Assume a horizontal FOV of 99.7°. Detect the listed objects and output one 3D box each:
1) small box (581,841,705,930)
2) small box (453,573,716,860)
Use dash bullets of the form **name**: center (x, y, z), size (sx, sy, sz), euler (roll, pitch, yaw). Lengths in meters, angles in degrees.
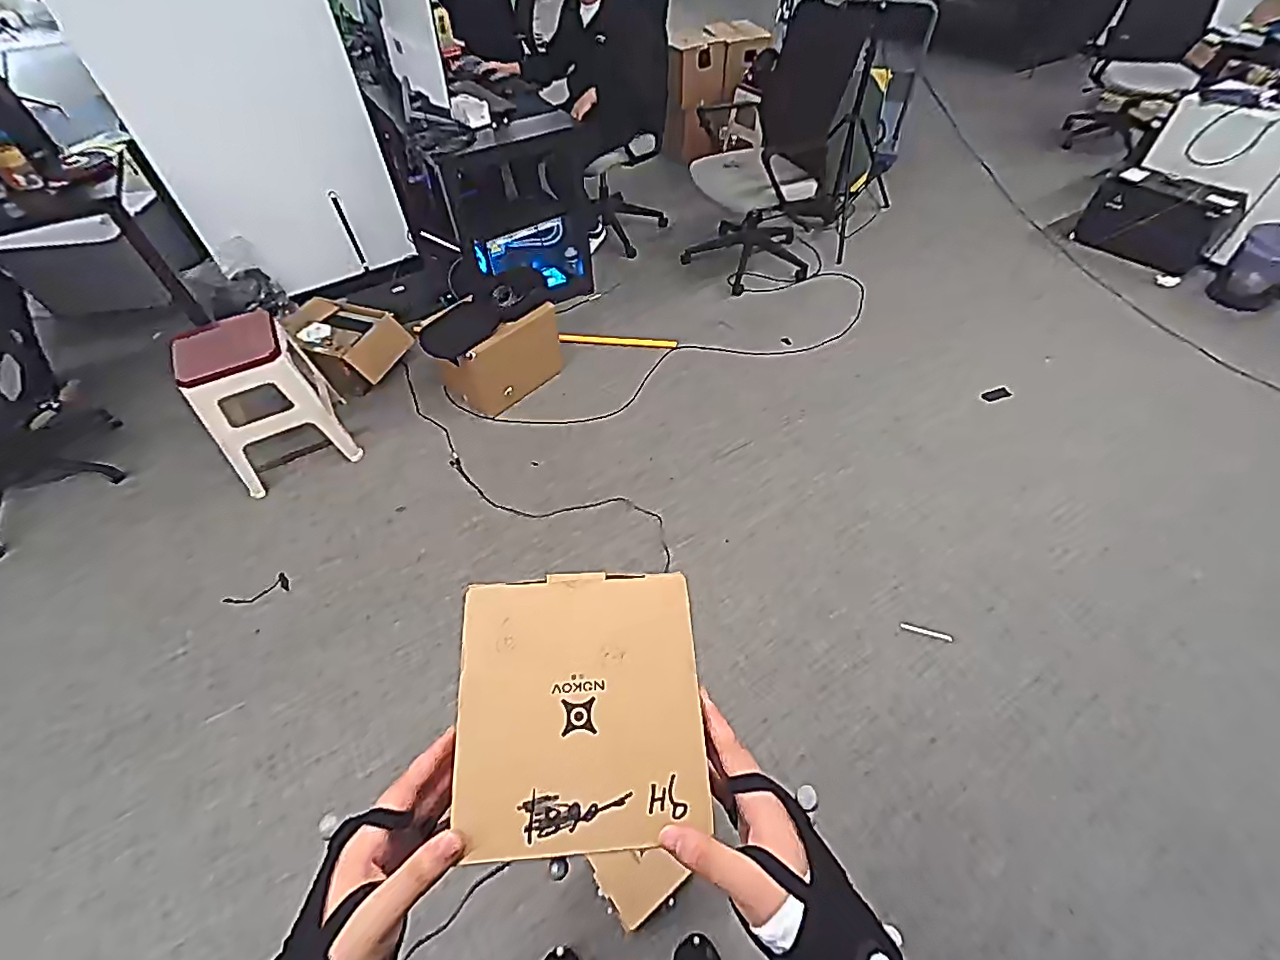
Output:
- **small box**: center (0.003, 0.709, 1.028), size (0.179, 0.176, 0.168), euler (-32, 58, -23)
- **small box**: center (-0.041, 0.188, 0.441), size (0.168, 0.176, 0.179), euler (-4, 63, -3)
